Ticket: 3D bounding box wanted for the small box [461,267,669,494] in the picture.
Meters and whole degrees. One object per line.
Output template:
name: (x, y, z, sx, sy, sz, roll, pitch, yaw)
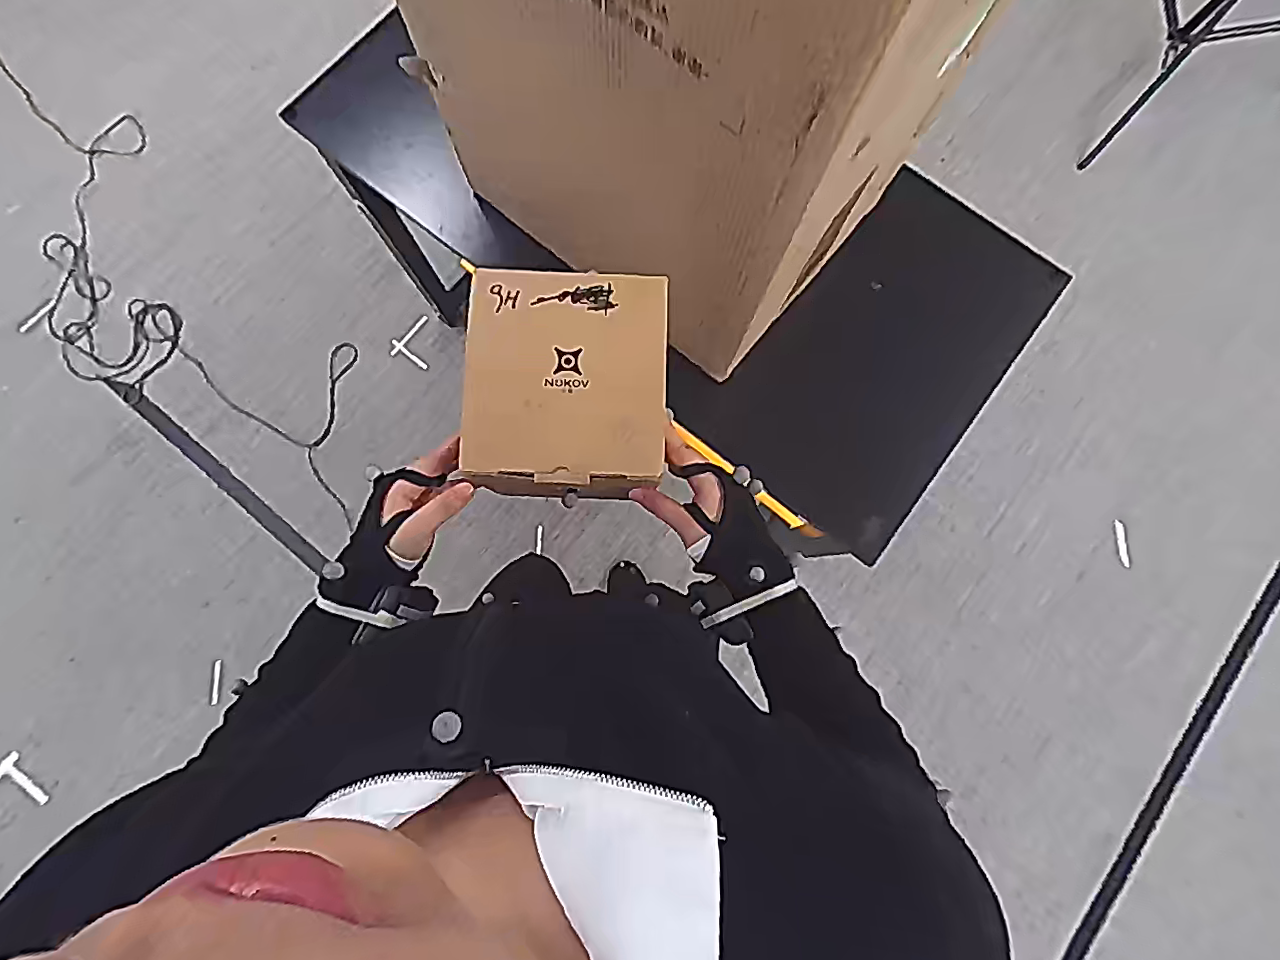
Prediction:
small box: (-0.062, -0.080, 0.520, 0.168, 0.176, 0.179, 2, 83, -3)
